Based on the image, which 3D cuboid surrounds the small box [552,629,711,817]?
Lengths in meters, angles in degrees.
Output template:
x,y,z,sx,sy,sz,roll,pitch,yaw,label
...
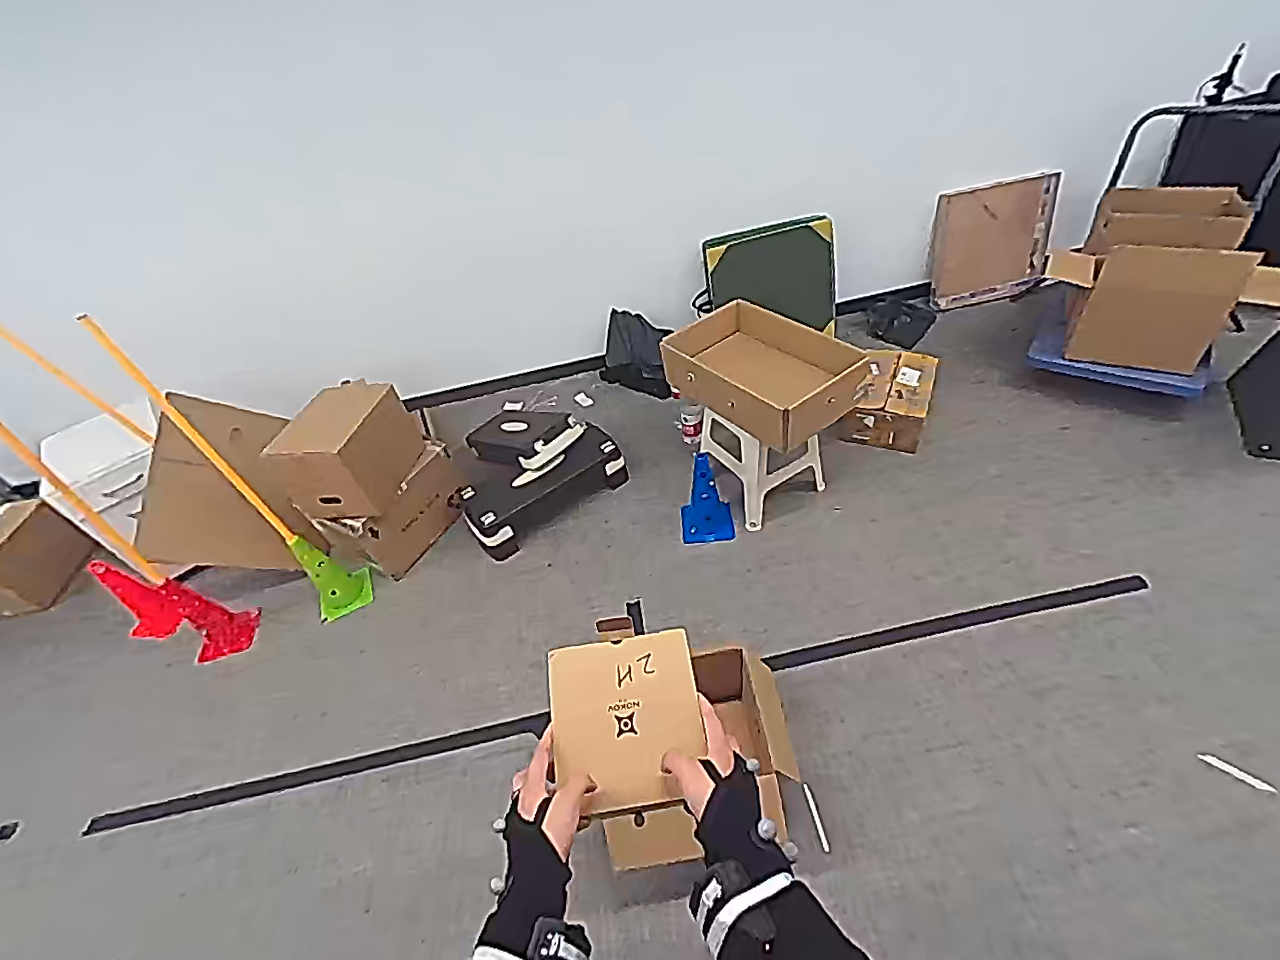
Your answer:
x,y,z,sx,sy,sz,roll,pitch,yaw,label
-0.008,0.302,0.664,0.168,0.176,0.179,-8,57,-1,small box
